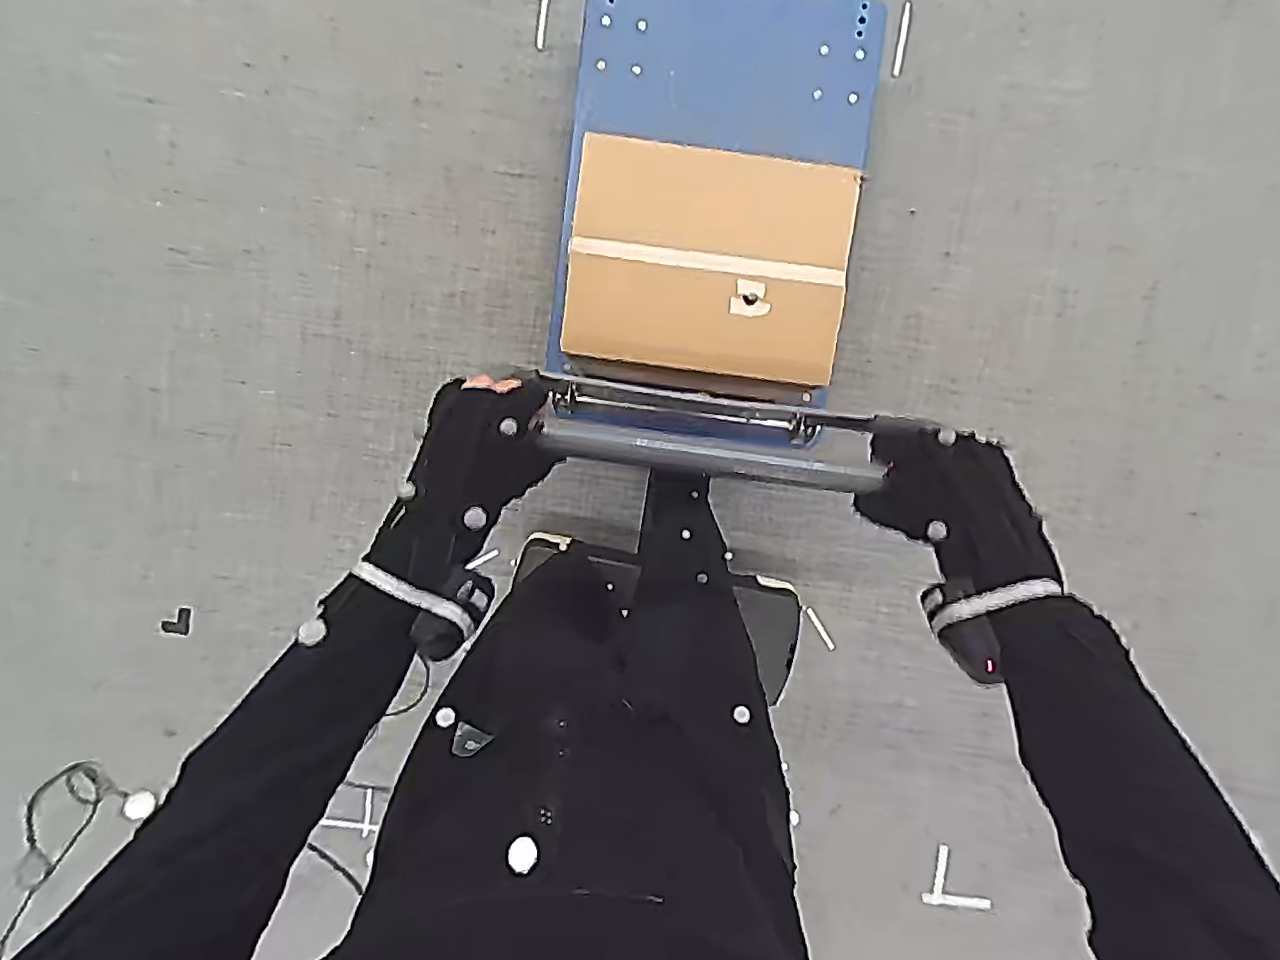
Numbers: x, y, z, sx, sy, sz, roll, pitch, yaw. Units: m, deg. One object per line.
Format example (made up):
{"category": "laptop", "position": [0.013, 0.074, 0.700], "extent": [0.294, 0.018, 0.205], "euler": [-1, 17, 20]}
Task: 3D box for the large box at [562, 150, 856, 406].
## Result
{"category": "large box", "position": [0.094, -0.310, 0.932], "extent": [0.408, 0.320, 0.320], "euler": [7, 95, -1]}
